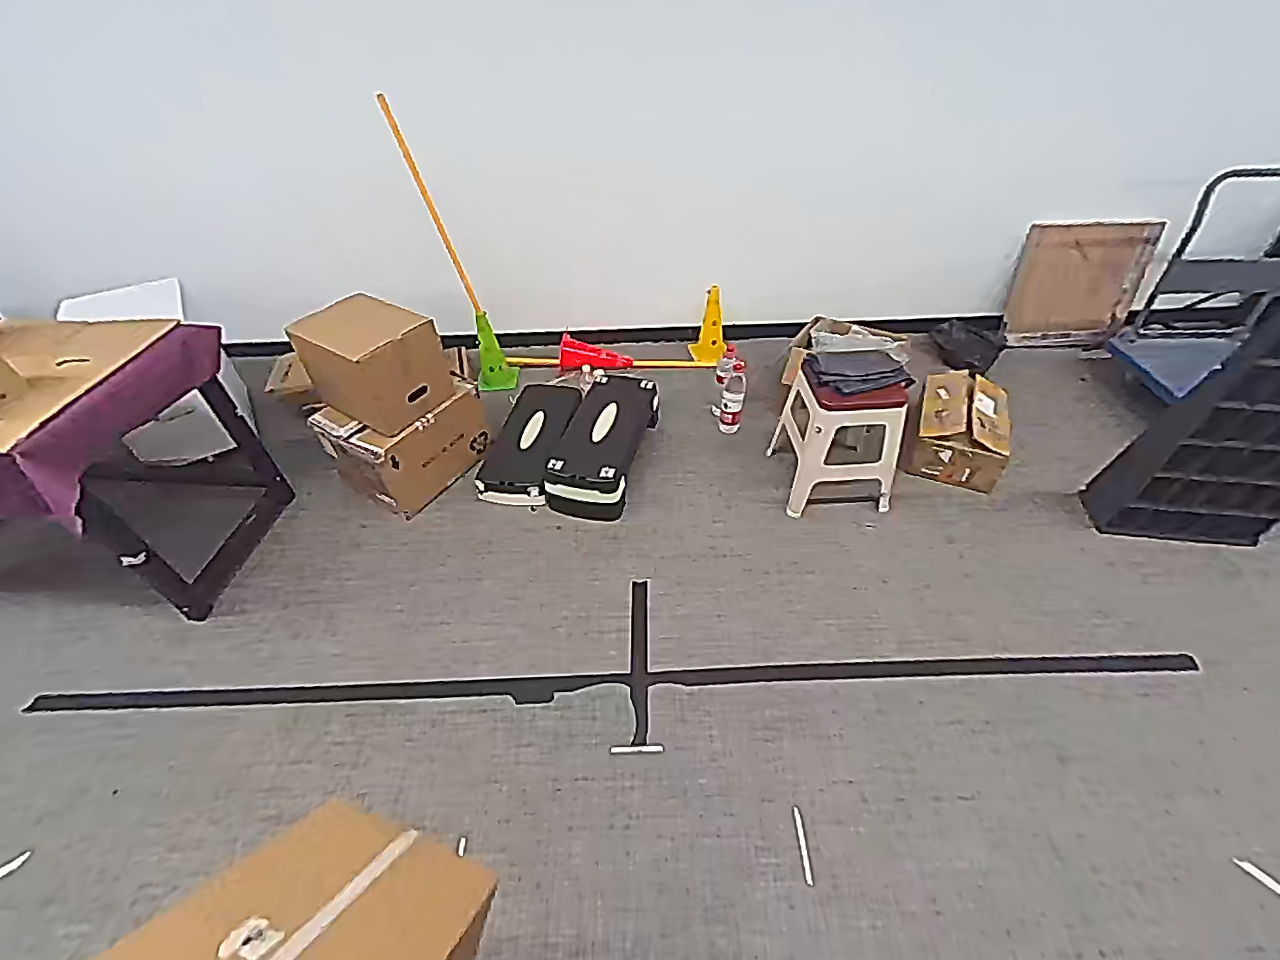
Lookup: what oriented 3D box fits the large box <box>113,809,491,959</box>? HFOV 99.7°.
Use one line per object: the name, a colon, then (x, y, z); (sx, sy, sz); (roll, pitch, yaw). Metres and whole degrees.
large box: (-0.449, 0.717, 0.680); (0.320, 0.408, 0.320); (16, 87, 11)
